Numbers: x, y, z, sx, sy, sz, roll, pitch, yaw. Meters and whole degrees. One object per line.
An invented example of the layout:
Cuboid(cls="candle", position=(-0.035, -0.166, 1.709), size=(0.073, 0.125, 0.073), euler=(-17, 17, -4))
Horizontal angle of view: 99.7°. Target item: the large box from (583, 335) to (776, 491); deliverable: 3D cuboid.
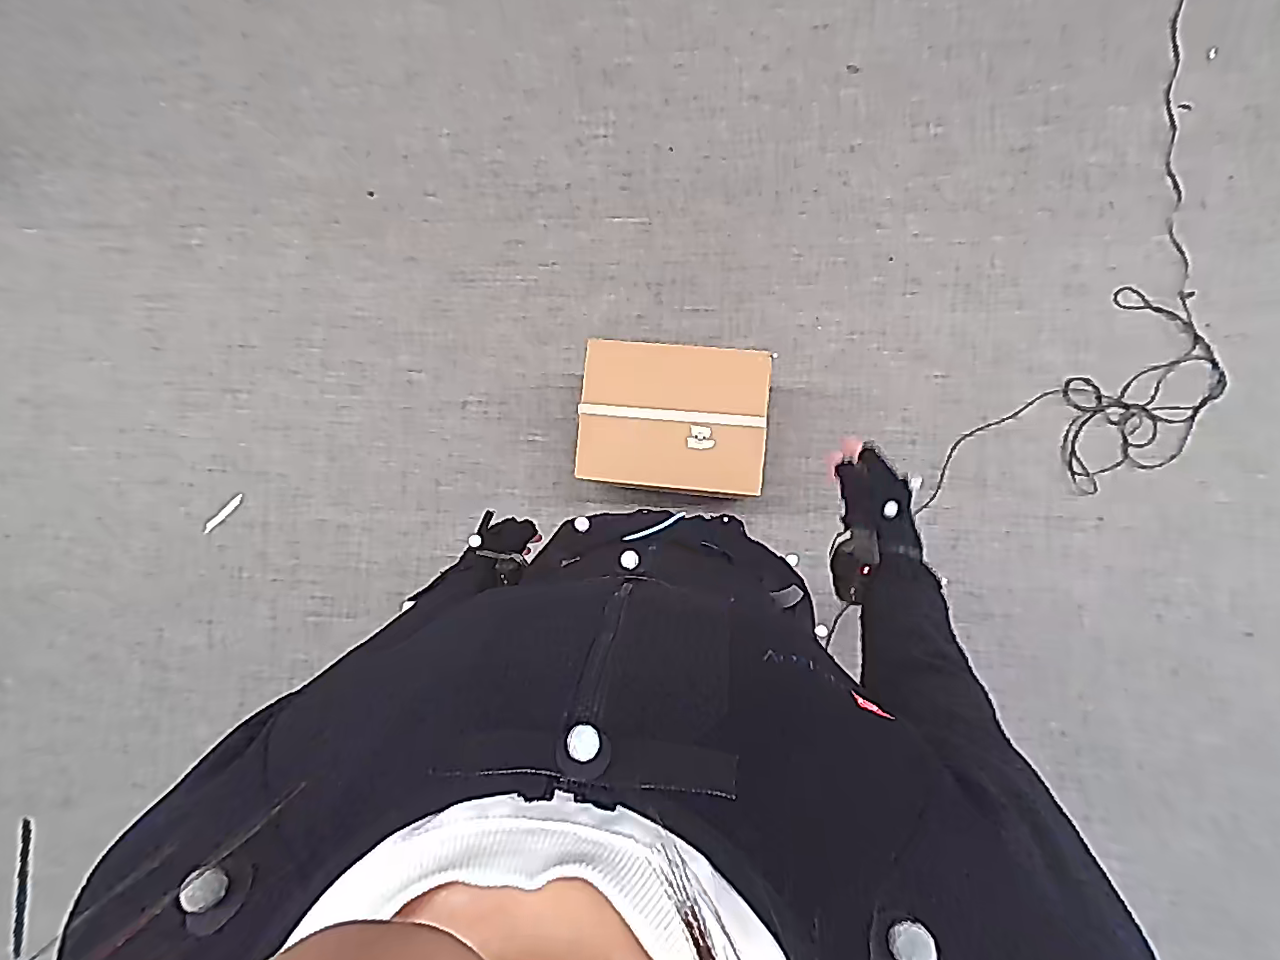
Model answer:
Cuboid(cls="large box", position=(0.095, -0.144, 1.318), size=(0.408, 0.320, 0.320), euler=(5, 88, 6))
